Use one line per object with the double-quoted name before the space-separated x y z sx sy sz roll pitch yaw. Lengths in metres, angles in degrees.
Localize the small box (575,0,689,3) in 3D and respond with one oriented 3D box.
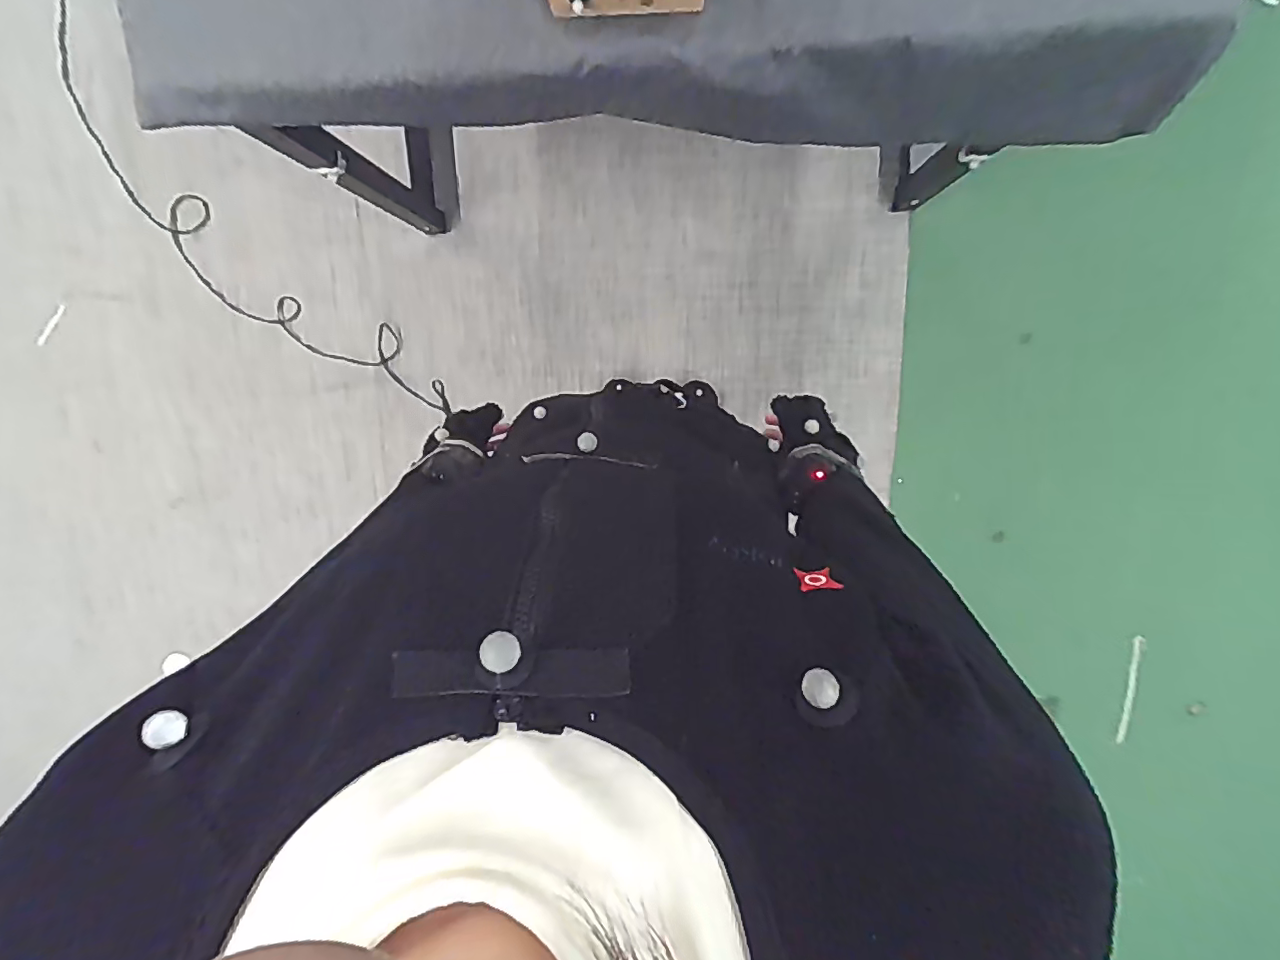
"small box" -0.019 -0.593 0.506 0.168 0.176 0.179 0 99 3
